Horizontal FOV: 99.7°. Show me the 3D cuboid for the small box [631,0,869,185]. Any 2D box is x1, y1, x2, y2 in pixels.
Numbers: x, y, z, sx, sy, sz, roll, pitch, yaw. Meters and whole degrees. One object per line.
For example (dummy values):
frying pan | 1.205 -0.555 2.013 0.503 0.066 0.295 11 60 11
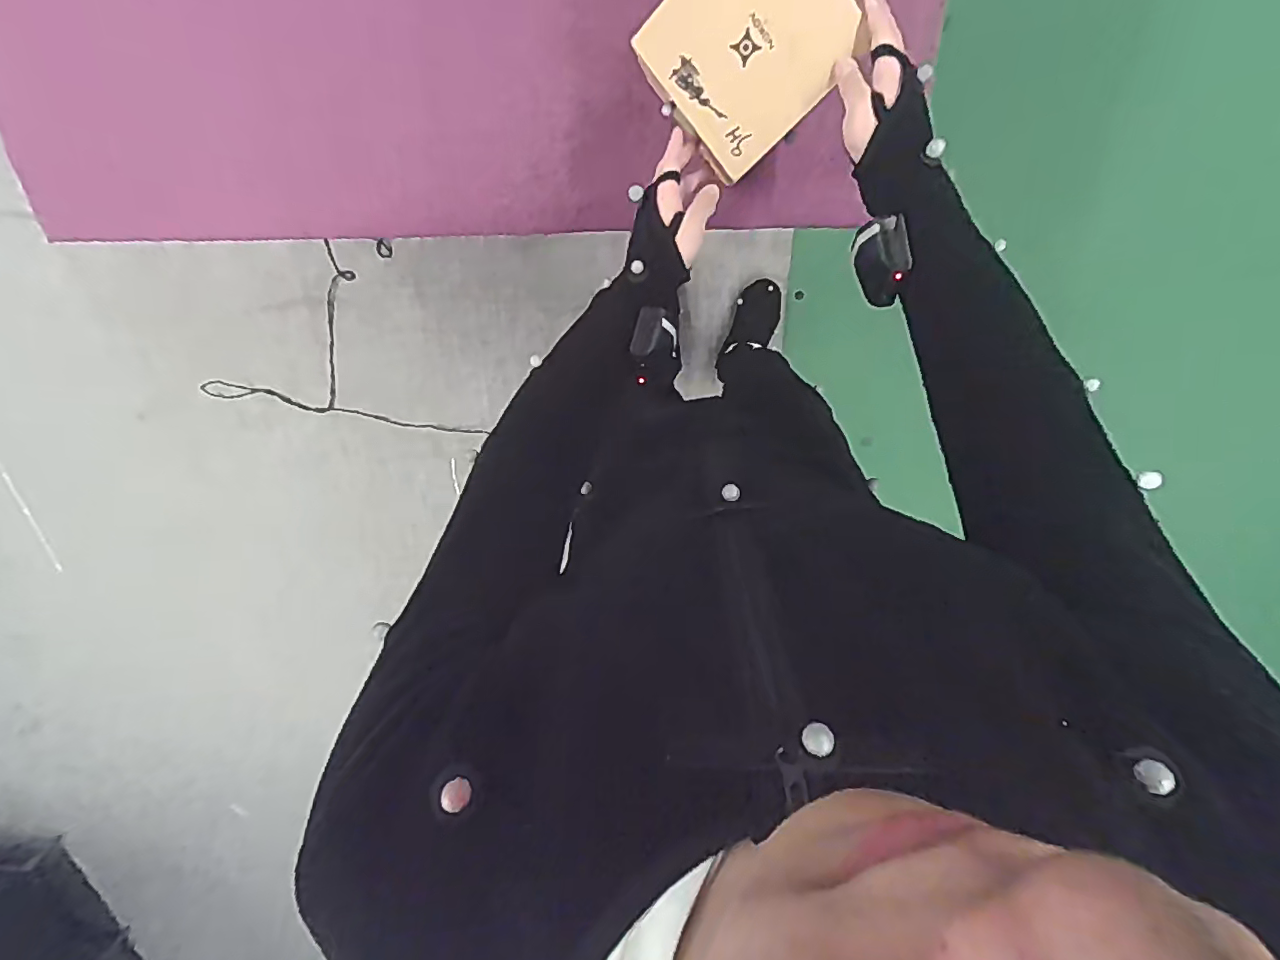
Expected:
small box | 0.111 -0.457 0.594 0.179 0.176 0.168 -37 107 22
